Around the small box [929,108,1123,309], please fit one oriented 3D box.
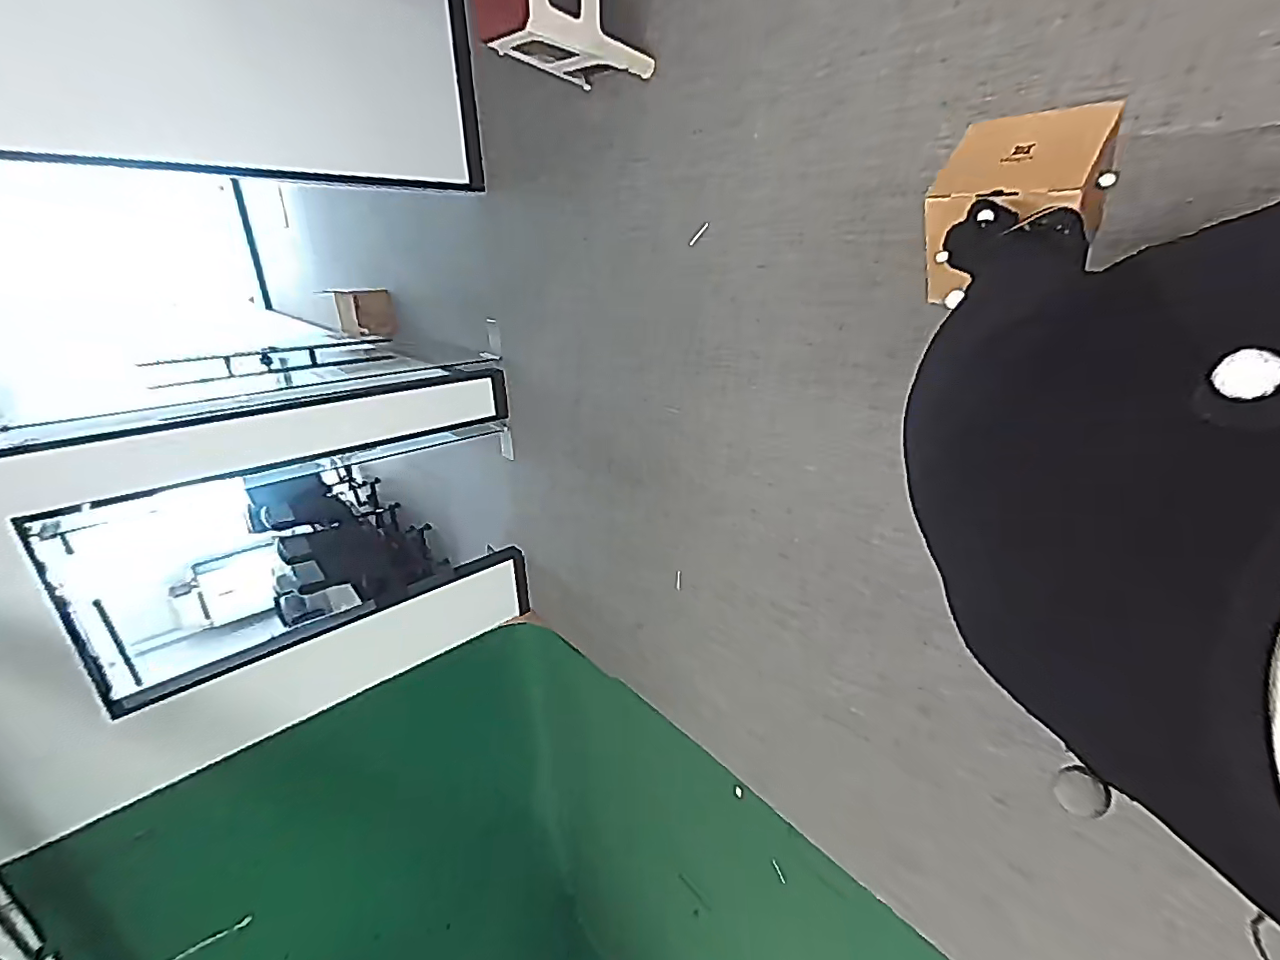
[{"bbox_3d":[0.512,-0.361,0.736,0.168,0.179,0.176,20,155,40],"label":"small box"}]
